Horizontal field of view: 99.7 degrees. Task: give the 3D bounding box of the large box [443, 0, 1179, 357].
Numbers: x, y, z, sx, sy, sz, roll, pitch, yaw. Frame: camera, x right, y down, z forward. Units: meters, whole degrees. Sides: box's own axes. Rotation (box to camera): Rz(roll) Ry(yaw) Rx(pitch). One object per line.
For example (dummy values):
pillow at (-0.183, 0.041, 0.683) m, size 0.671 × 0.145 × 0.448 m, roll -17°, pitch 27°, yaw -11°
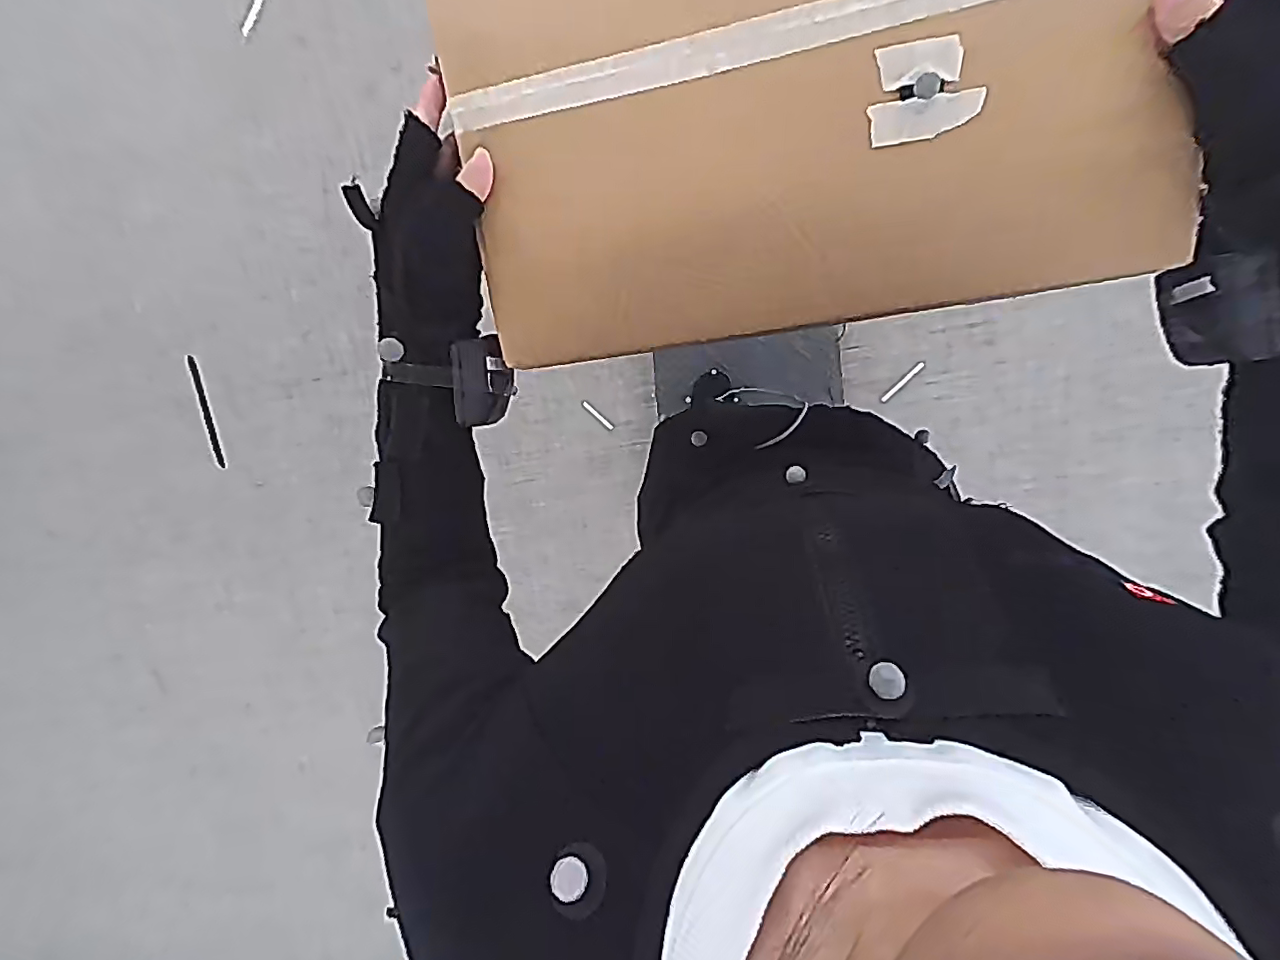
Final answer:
large box at (0.102, -0.294, 0.453) m, size 0.408 × 0.320 × 0.320 m, roll -7°, pitch 104°, yaw 10°
